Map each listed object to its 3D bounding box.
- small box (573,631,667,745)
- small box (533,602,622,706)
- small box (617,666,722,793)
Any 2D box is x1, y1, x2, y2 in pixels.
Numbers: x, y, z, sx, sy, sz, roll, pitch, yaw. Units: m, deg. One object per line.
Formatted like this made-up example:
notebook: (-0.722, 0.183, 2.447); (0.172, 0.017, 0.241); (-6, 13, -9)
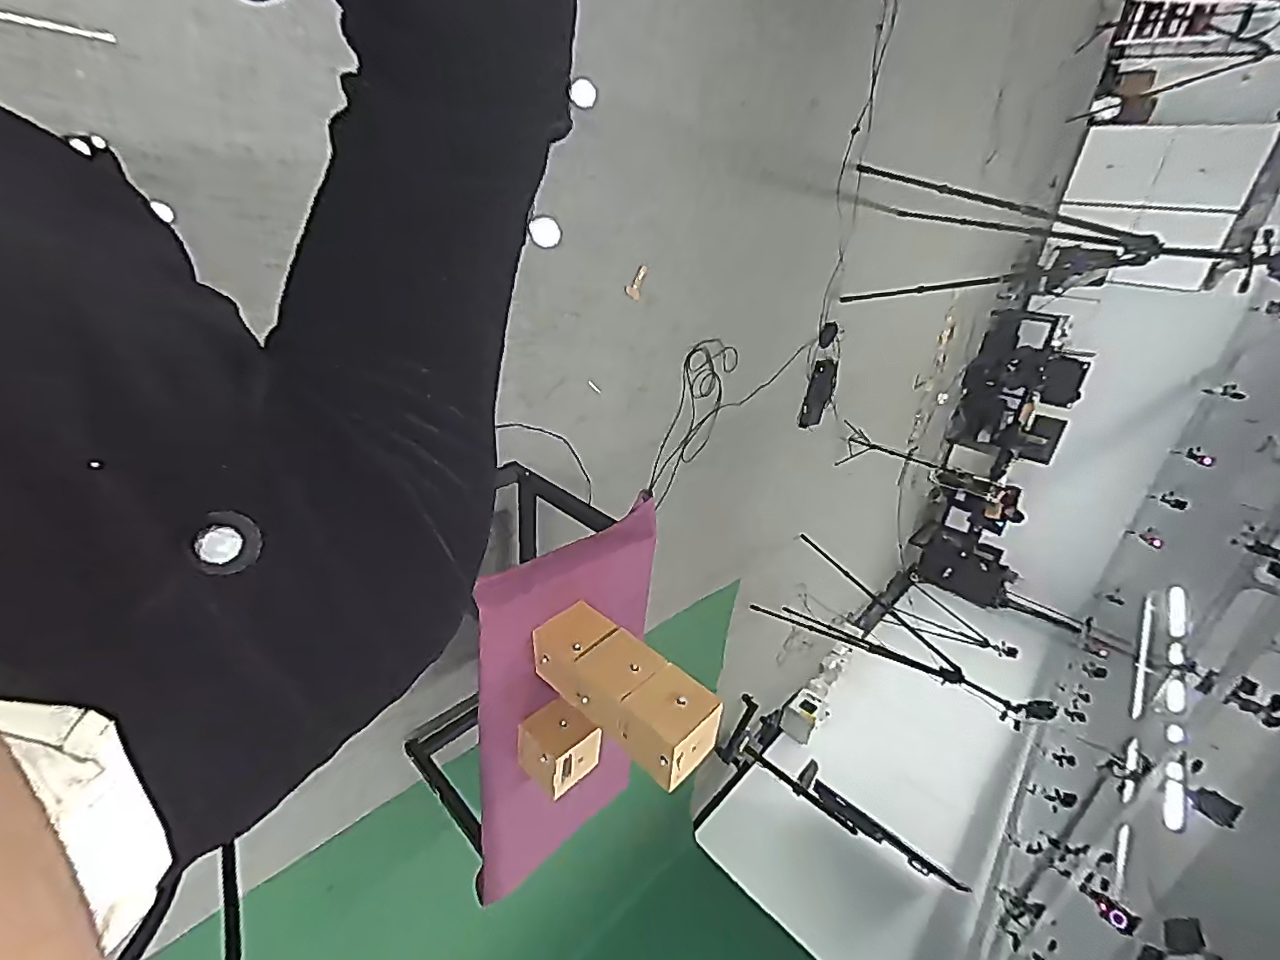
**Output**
small box: (-0.052, 0.518, 1.373); (0.179, 0.176, 0.168); (-26, 130, -39)
small box: (-0.171, 0.464, 1.474); (0.179, 0.176, 0.168); (-25, 129, -40)
small box: (0.068, 0.577, 1.278); (0.179, 0.176, 0.168); (-25, 129, -41)
